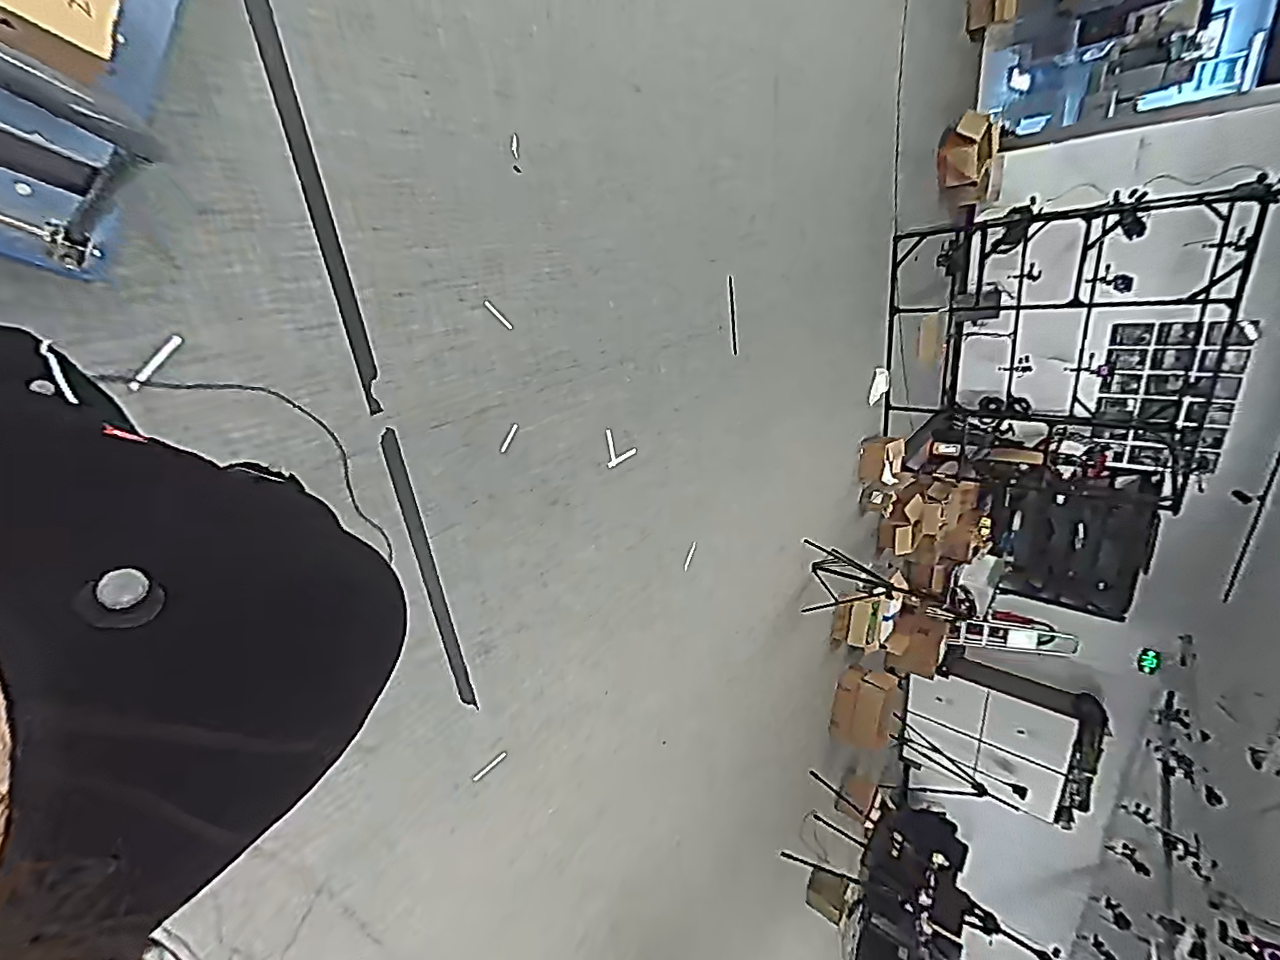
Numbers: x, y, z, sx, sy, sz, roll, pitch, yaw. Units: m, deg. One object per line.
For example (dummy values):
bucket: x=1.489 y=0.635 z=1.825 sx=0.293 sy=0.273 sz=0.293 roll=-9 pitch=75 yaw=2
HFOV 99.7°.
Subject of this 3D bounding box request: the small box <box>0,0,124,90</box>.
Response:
small box: x=-0.853 y=-0.694 z=0.755 sx=0.179 sy=0.176 sz=0.168 roll=10 pitch=92 yaw=-50
